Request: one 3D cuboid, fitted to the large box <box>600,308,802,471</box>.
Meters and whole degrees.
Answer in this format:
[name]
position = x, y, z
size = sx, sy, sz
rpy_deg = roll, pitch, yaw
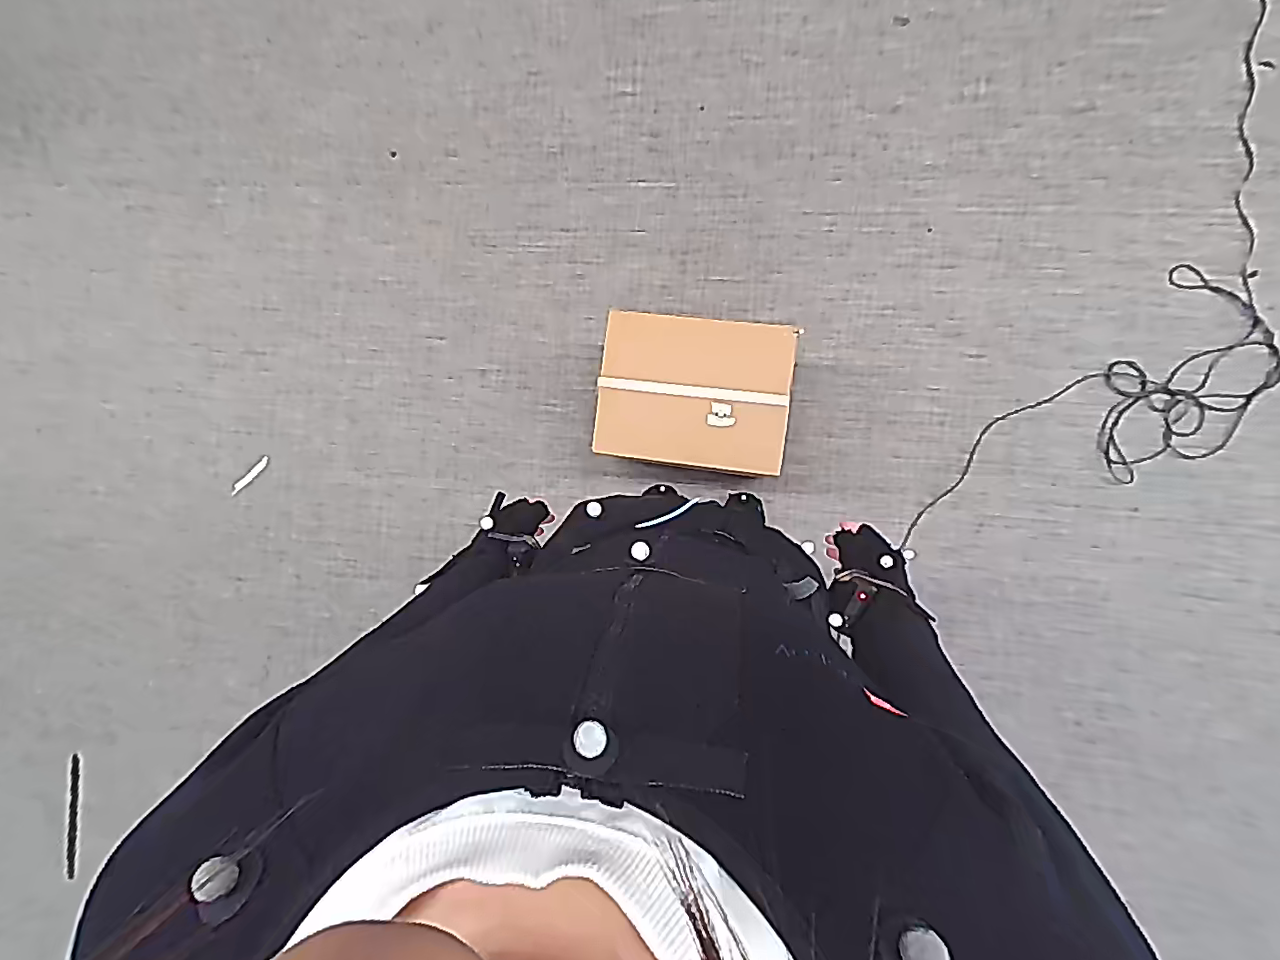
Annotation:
[large box]
position = 0.142, -0.197, 1.295
size = 0.408, 0.320, 0.320
rpy_deg = 8, 92, 7
